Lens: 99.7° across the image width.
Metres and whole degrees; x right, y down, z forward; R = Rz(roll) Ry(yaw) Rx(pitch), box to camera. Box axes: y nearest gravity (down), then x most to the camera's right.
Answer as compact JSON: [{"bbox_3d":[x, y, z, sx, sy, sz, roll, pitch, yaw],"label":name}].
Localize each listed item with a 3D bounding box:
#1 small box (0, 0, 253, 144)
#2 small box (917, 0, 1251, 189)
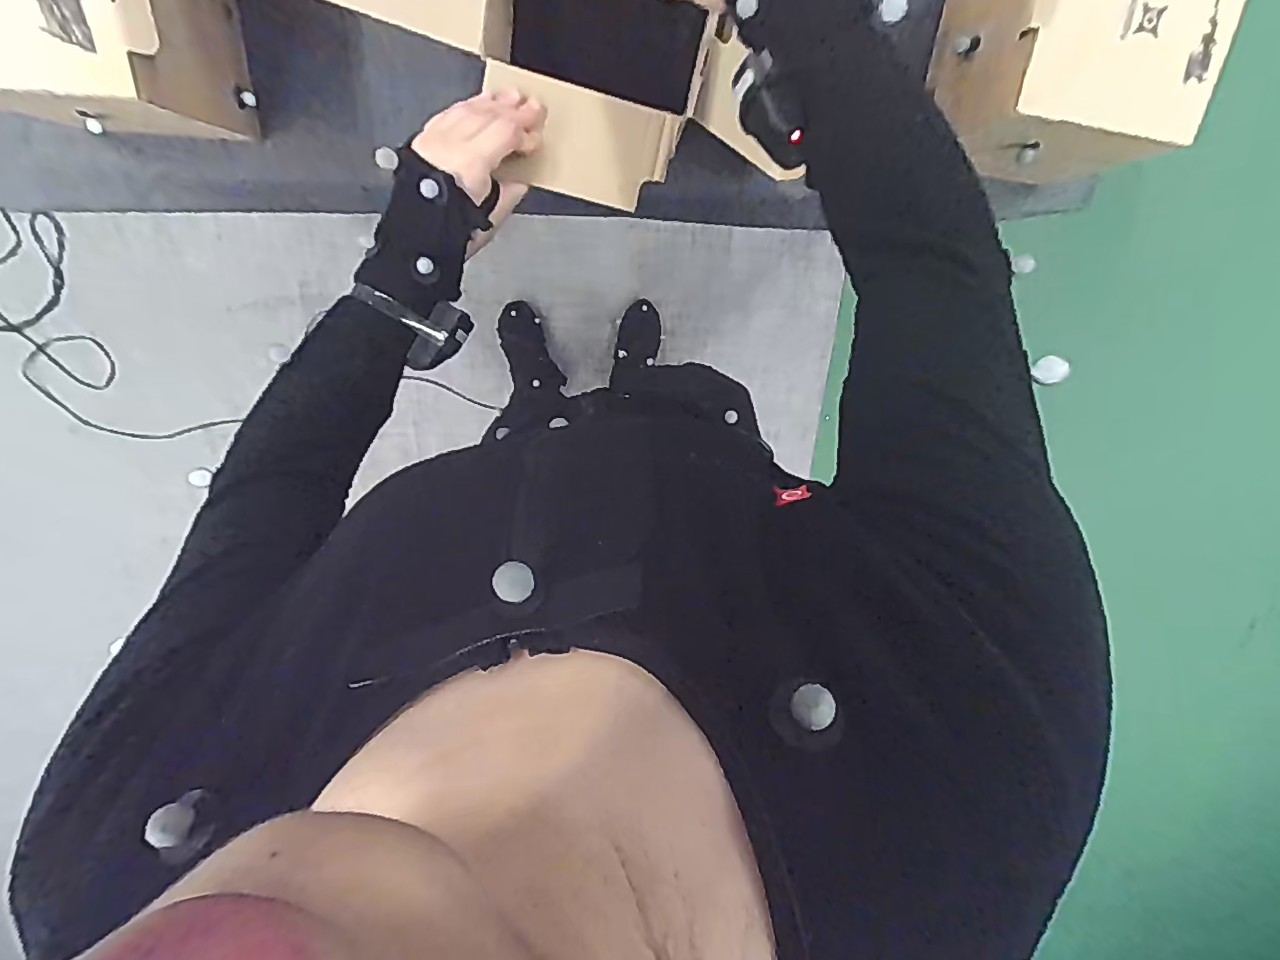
[{"bbox_3d":[-0.471,-0.399,0.461,0.179,0.176,0.168,1,113,-4],"label":"small box"},{"bbox_3d":[0.404,-0.394,0.518,0.179,0.176,0.168,6,107,-5],"label":"small box"}]
